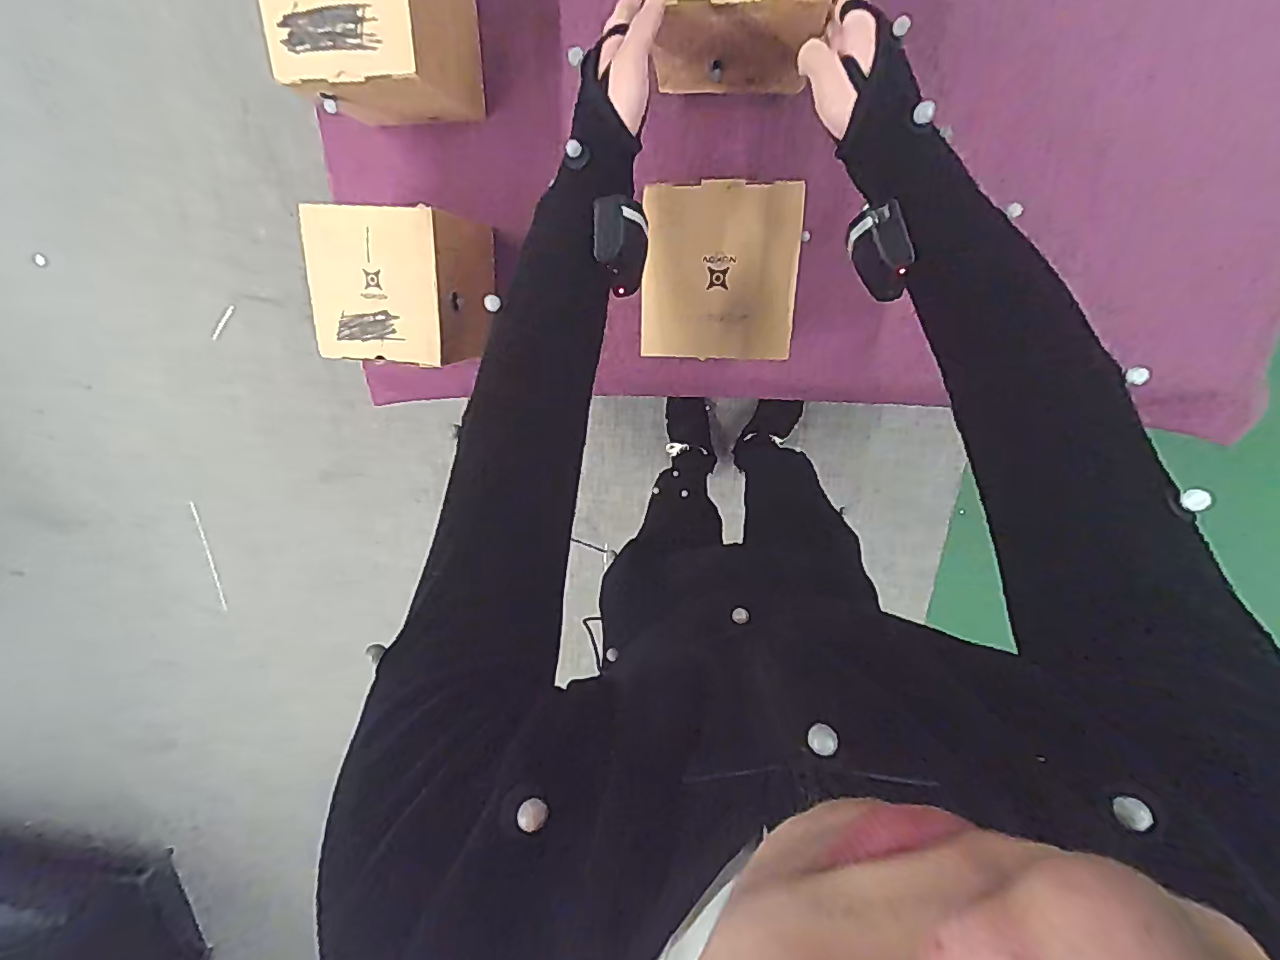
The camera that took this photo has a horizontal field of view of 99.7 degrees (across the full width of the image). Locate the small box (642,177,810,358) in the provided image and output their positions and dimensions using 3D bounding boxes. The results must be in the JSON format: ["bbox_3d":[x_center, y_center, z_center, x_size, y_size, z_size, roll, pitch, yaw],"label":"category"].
[{"bbox_3d":[0.098,-0.246,0.644,0.168,0.176,0.179,5,110,9],"label":"small box"}]

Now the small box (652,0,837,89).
[{"bbox_3d":[0.099,-0.513,0.516,0.168,0.176,0.179,4,105,6],"label":"small box"}]

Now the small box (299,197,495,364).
[{"bbox_3d":[-0.298,-0.256,0.704,0.168,0.176,0.179,6,110,7],"label":"small box"}]
